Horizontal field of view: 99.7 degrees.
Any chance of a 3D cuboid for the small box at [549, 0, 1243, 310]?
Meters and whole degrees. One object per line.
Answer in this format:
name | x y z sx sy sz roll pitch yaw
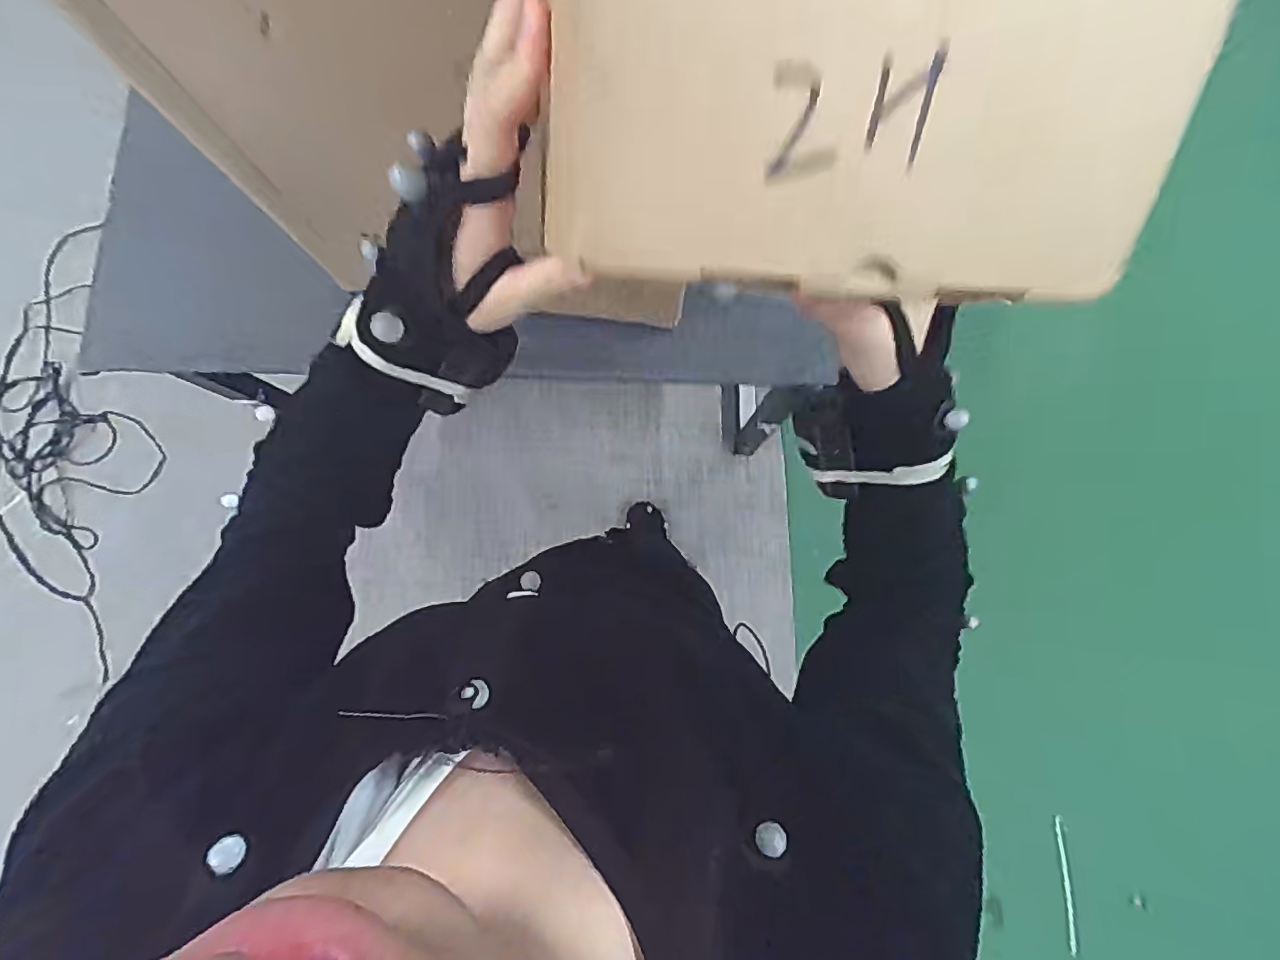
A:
small box | 0.057 -0.165 0.186 0.168 0.176 0.179 -1 116 -13
